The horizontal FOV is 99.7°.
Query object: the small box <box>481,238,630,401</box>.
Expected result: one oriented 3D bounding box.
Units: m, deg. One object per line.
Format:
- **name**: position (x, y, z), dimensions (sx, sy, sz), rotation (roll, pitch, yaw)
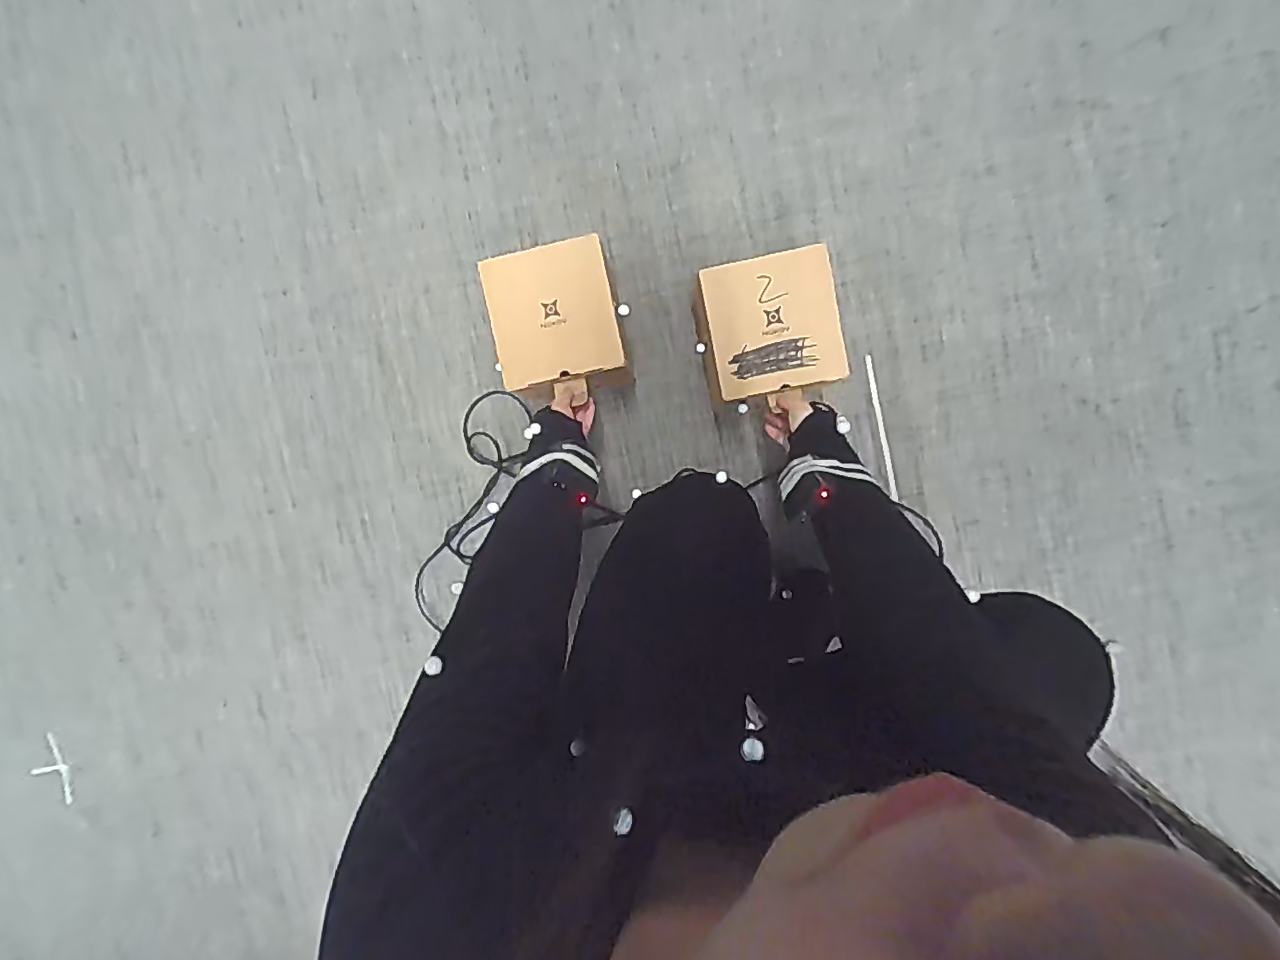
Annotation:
- **small box**: position (-0.113, -0.222, 0.794), dimensions (0.168, 0.176, 0.179), rotation (-11, 93, 4)
